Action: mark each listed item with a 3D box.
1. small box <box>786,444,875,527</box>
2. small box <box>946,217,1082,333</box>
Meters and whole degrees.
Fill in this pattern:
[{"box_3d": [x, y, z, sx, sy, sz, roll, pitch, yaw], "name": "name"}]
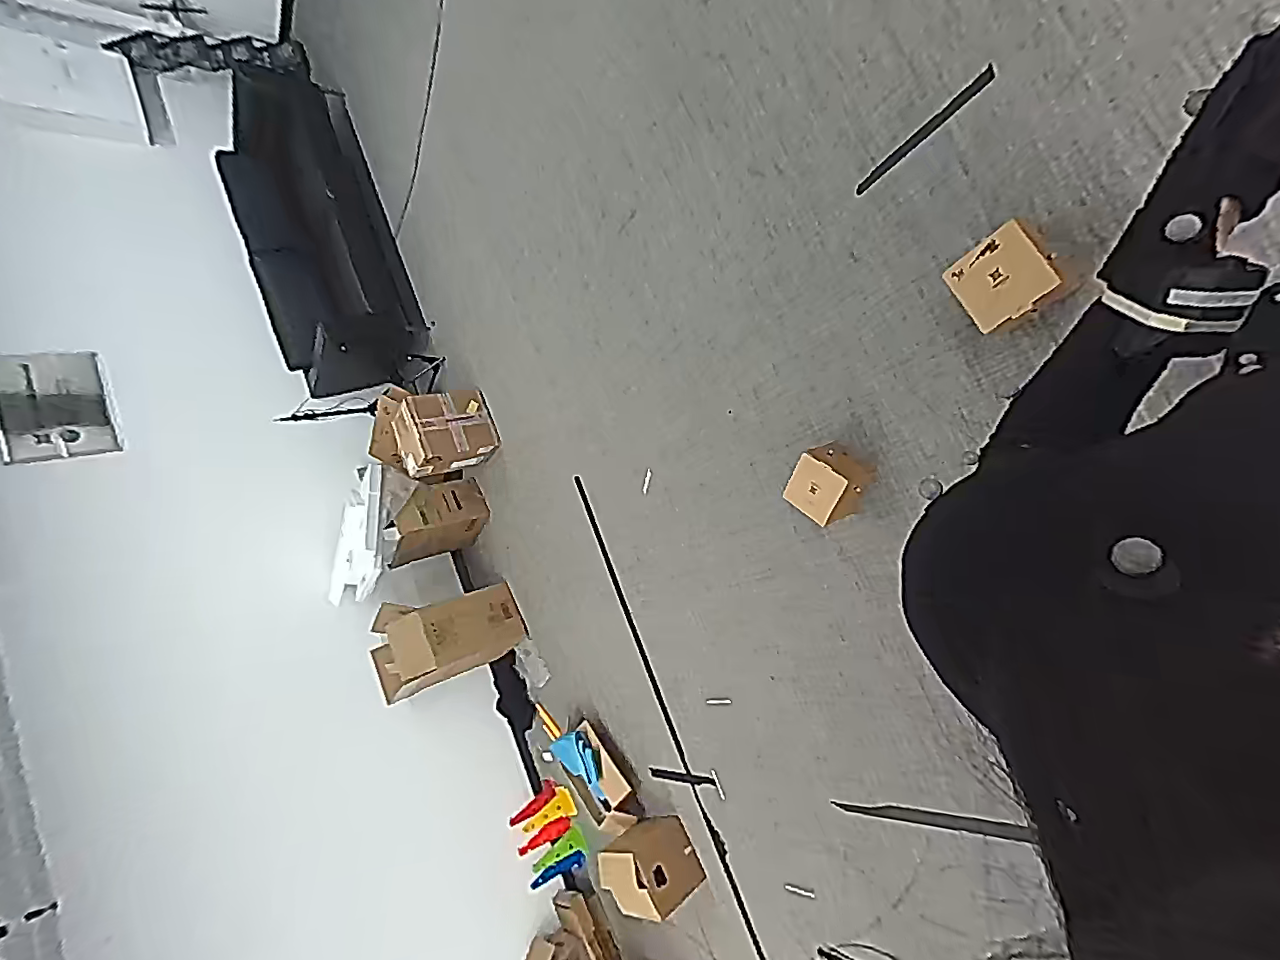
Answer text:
[{"box_3d": [0.582, 0.009, 1.642, 0.168, 0.176, 0.179, 42, 132, 35], "name": "small box"}, {"box_3d": [0.828, -0.450, 1.195, 0.168, 0.176, 0.179, -41, 71, 48], "name": "small box"}]
